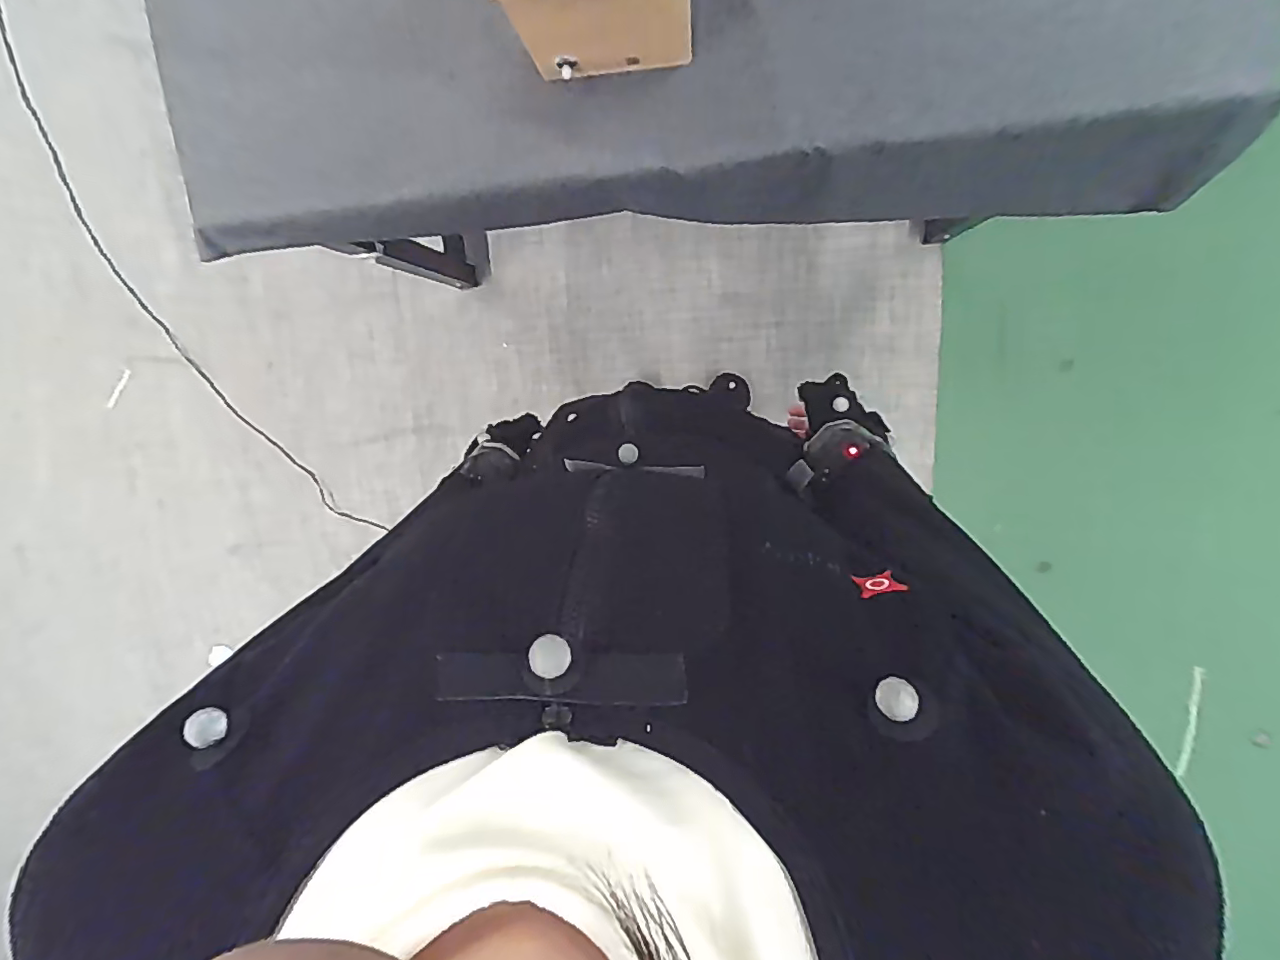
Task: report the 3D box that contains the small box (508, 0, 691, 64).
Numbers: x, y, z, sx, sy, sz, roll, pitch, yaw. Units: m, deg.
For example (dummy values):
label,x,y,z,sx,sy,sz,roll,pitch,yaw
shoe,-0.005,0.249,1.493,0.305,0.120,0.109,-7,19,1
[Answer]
label,x,y,z,sx,sy,sz,roll,pitch,yaw
small box,-0.038,-0.525,0.503,0.168,0.176,0.179,-1,101,7
